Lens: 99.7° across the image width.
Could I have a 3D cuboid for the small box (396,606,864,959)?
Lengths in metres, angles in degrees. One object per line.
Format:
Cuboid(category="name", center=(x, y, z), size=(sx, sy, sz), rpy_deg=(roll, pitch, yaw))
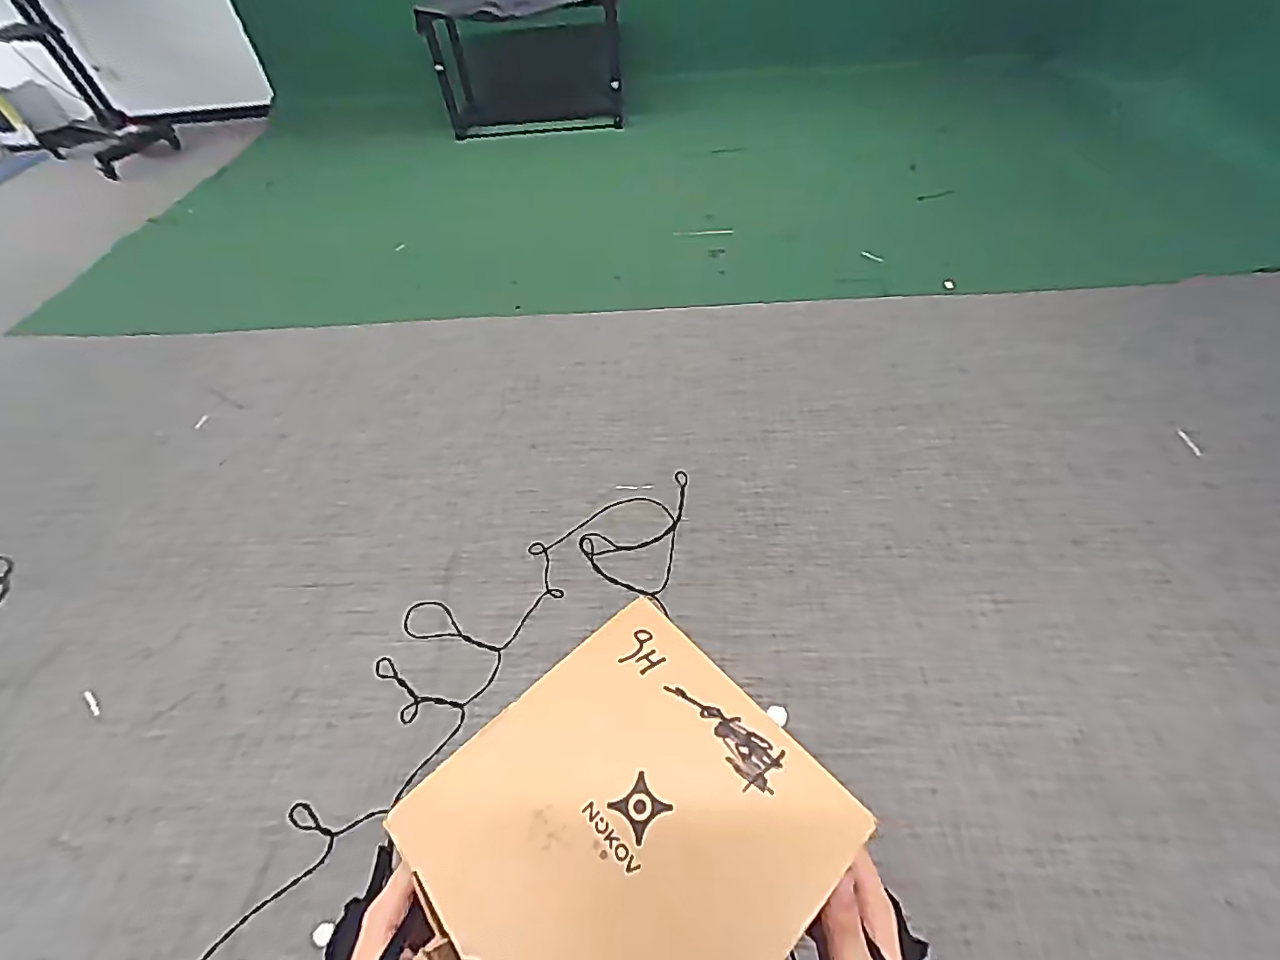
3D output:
Cuboid(category="small box", center=(-0.002, 0.219, 0.325), size=(0.179, 0.176, 0.168), rpy_deg=(-37, 57, -23))
